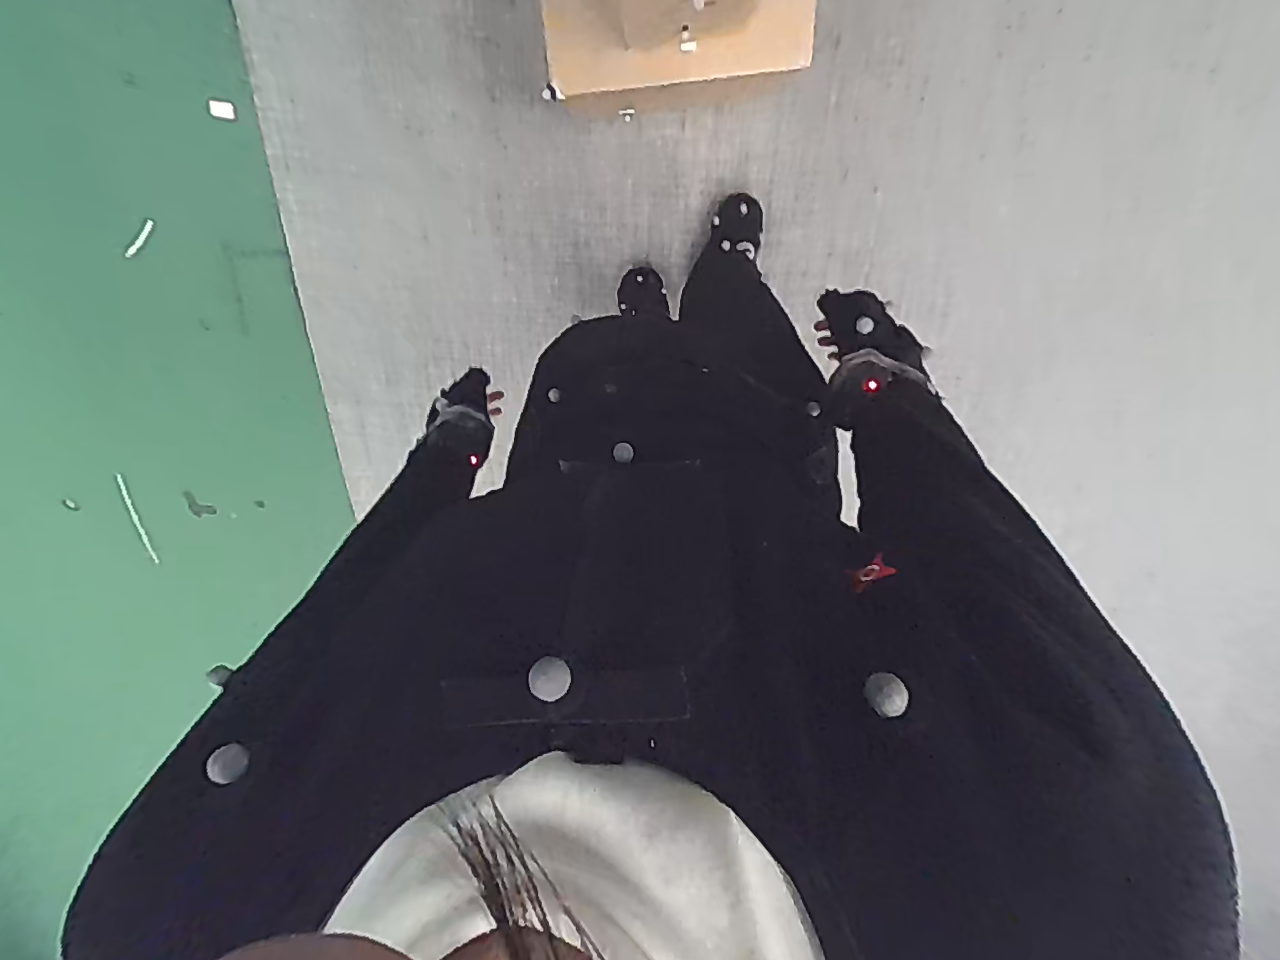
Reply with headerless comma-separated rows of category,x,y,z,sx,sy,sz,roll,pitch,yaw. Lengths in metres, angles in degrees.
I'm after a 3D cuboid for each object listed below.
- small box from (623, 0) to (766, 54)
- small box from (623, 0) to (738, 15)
small box,0.059,-0.686,0.702,0.179,0.176,0.168,-9,117,6
small box,0.049,-0.613,0.556,0.168,0.176,0.179,-6,118,5
